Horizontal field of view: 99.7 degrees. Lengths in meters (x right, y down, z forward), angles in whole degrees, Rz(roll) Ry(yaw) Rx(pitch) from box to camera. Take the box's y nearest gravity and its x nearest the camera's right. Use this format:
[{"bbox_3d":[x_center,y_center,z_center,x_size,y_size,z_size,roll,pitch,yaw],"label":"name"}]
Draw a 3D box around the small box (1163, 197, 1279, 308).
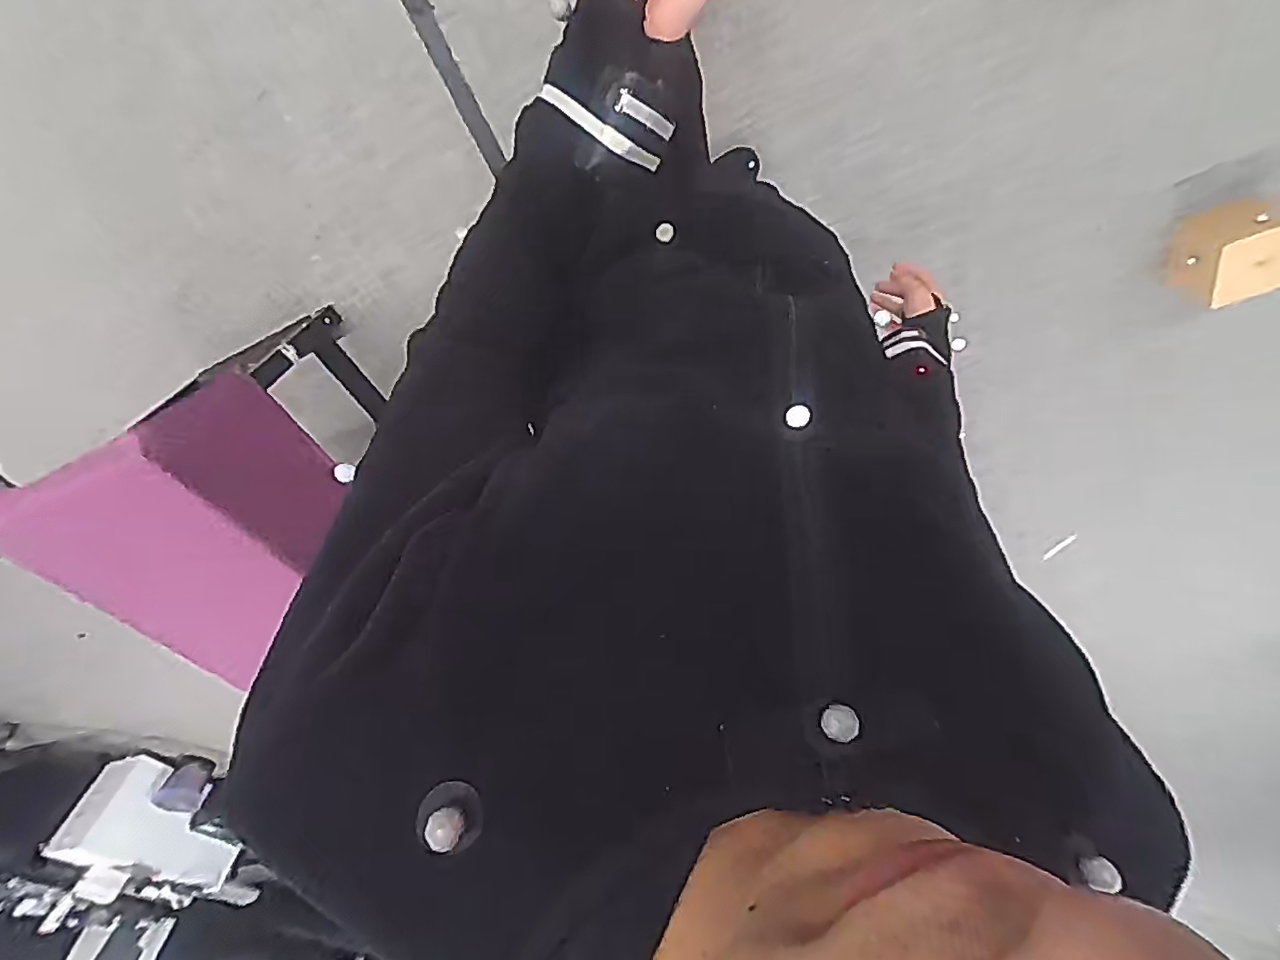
[{"bbox_3d":[1.418,-0.548,1.299,0.179,0.176,0.168,-19,126,18],"label":"small box"}]
